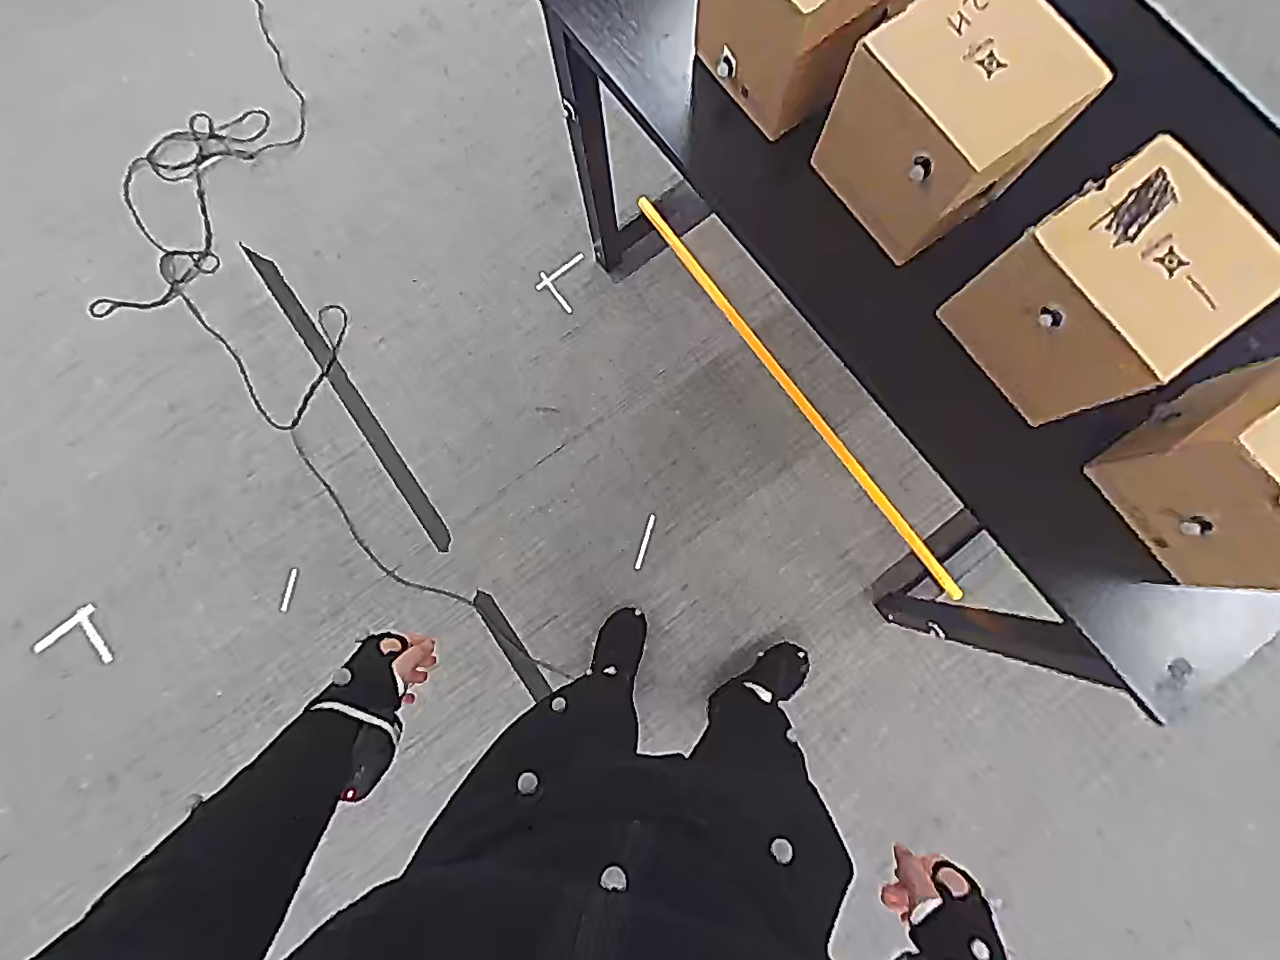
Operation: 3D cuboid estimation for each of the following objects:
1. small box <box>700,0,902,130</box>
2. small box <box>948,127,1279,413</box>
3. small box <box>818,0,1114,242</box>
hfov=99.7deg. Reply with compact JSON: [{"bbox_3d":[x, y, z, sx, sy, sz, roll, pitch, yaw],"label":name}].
[{"bbox_3d":[0.183,-0.555,0.610,0.179,0.176,0.168,-37,82,-2],"label":"small box"},{"bbox_3d":[0.465,-0.195,0.553,0.168,0.176,0.179,-36,83,-3],"label":"small box"},{"bbox_3d":[0.326,-0.390,0.582,0.168,0.176,0.179,-36,83,-3],"label":"small box"}]
